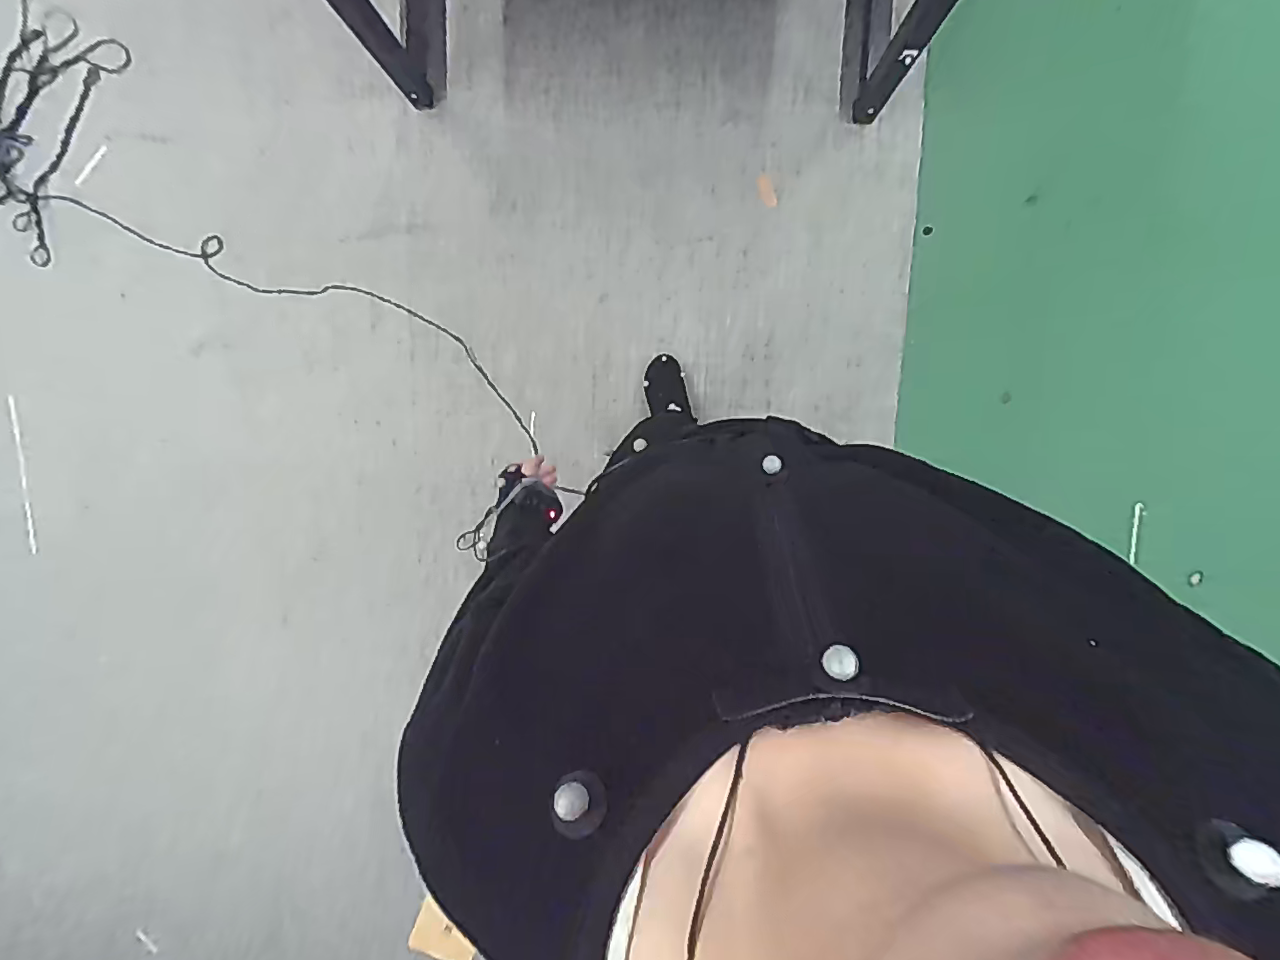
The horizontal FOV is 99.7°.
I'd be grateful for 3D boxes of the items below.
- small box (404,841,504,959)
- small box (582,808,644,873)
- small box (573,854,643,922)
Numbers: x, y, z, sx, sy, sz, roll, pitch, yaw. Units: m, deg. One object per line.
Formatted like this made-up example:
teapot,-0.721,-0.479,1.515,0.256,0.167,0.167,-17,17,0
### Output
small box,-0.470,1.092,1.394,0.168,0.176,0.179,22,98,0
small box,-0.075,1.071,1.544,0.168,0.176,0.179,0,98,2
small box,-0.079,1.098,1.381,0.168,0.176,0.179,0,98,3
